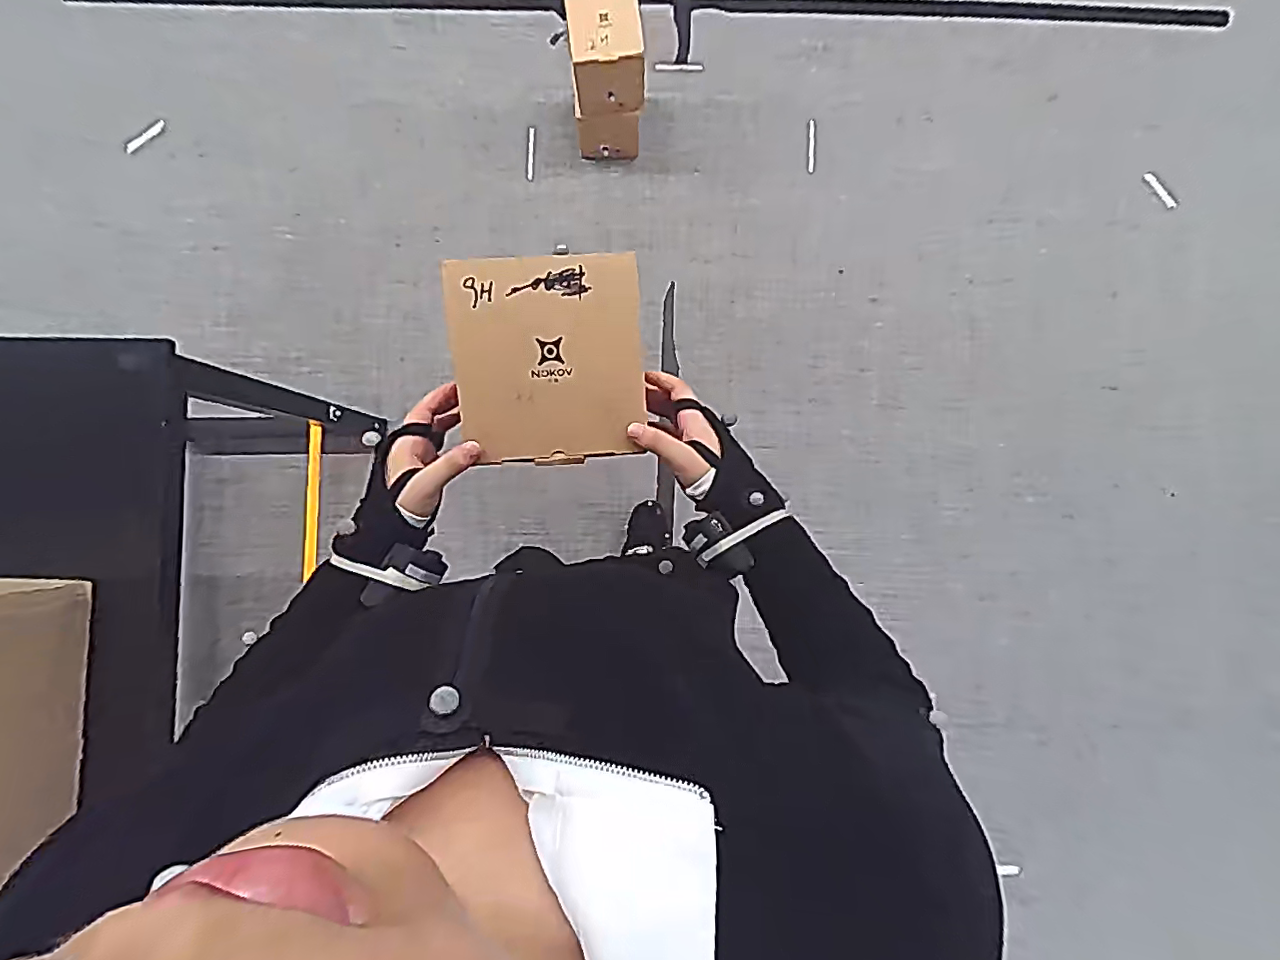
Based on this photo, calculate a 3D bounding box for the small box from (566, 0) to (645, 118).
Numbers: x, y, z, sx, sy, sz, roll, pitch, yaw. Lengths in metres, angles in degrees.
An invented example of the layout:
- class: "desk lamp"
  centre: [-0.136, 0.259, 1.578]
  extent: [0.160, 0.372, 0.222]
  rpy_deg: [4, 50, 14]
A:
- class: "small box"
  centre: [-0.079, -1.017, 1.297]
  extent: [0.168, 0.176, 0.179]
  rpy_deg: [-7, 87, 0]

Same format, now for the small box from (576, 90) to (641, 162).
- class: "small box"
  centre: [-0.083, -0.997, 1.462]
  extent: [0.168, 0.176, 0.179]
  rpy_deg: [-2, 89, 0]

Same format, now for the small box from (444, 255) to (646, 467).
- class: "small box"
  centre: [-0.084, -0.118, 0.548]
  extent: [0.168, 0.176, 0.179]
  rpy_deg: [-5, 102, -4]
